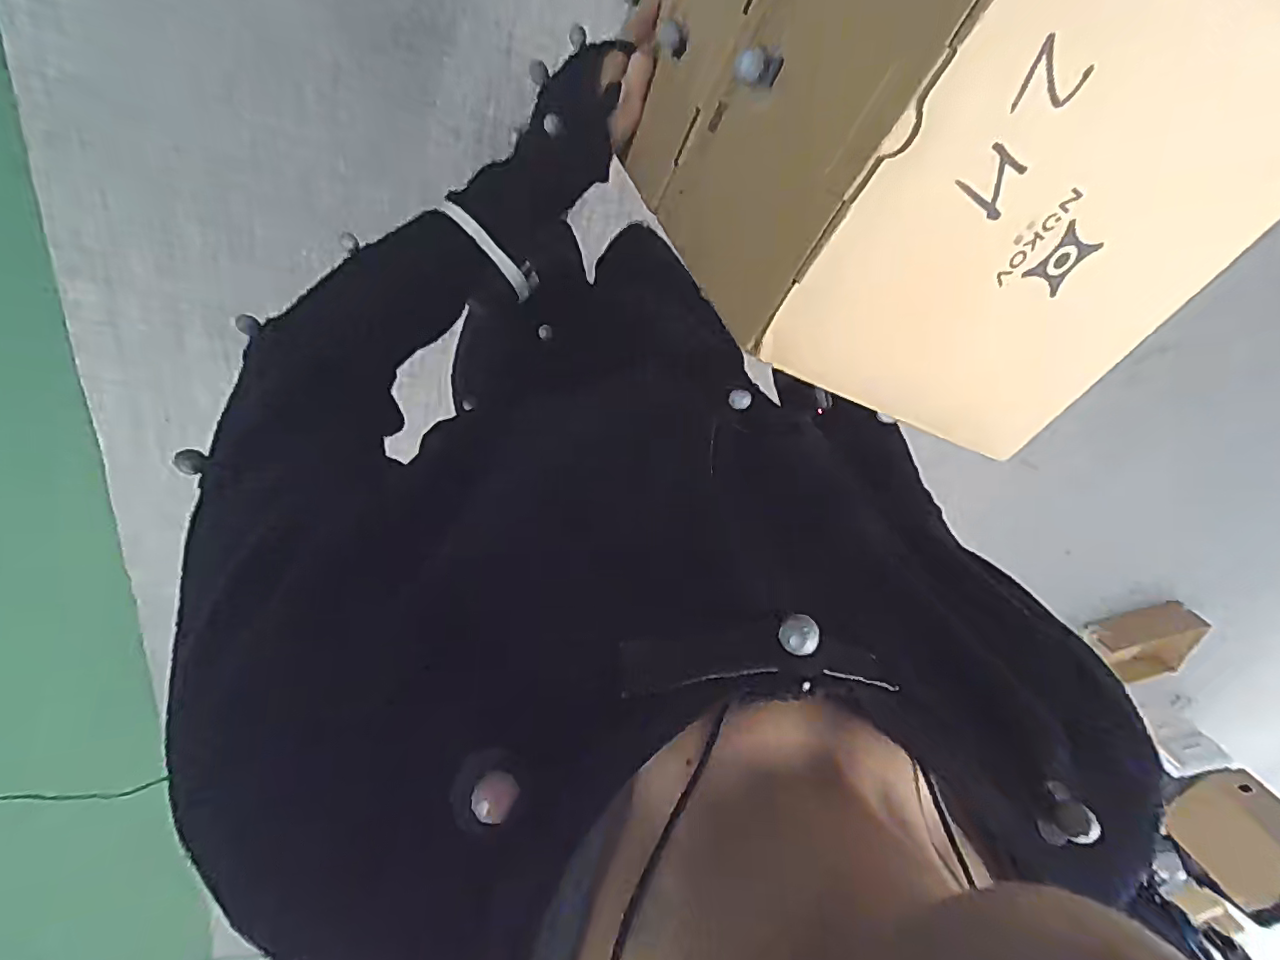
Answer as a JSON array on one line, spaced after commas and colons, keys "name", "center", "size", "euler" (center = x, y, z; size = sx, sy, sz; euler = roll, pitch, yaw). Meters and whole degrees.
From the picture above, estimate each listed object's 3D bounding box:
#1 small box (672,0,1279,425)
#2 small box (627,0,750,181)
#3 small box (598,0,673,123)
[{"name": "small box", "center": [0.140, -0.158, 0.254], "size": [0.179, 0.176, 0.168], "euler": [15, 126, -25]}, {"name": "small box", "center": [0.106, -0.272, 0.369], "size": [0.179, 0.176, 0.168], "euler": [15, 128, -25]}, {"name": "small box", "center": [0.077, -0.386, 0.483], "size": [0.179, 0.176, 0.168], "euler": [14, 127, -24]}]
